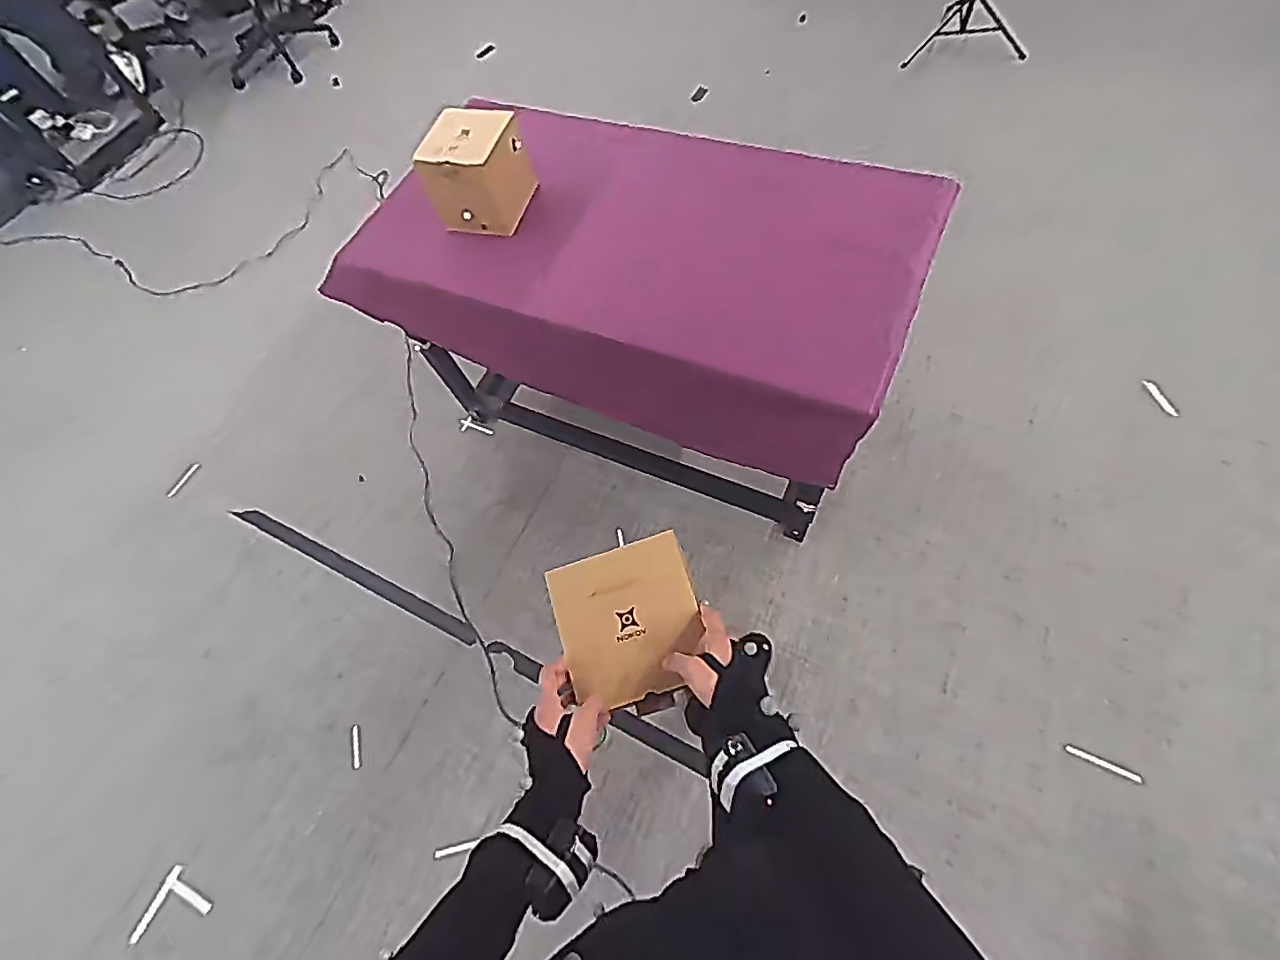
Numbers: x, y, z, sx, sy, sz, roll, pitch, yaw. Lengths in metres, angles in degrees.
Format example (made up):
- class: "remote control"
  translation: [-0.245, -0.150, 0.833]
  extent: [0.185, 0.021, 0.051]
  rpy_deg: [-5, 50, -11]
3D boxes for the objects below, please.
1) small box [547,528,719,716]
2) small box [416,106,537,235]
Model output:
- class: "small box"
  translation: [0.000, 0.179, 0.695]
  extent: [0.168, 0.176, 0.179]
  rpy_deg: [-19, 72, 3]
- class: "small box"
  translation: [-0.339, -0.663, 1.164]
  extent: [0.168, 0.176, 0.179]
  rpy_deg: [12, 67, 13]
